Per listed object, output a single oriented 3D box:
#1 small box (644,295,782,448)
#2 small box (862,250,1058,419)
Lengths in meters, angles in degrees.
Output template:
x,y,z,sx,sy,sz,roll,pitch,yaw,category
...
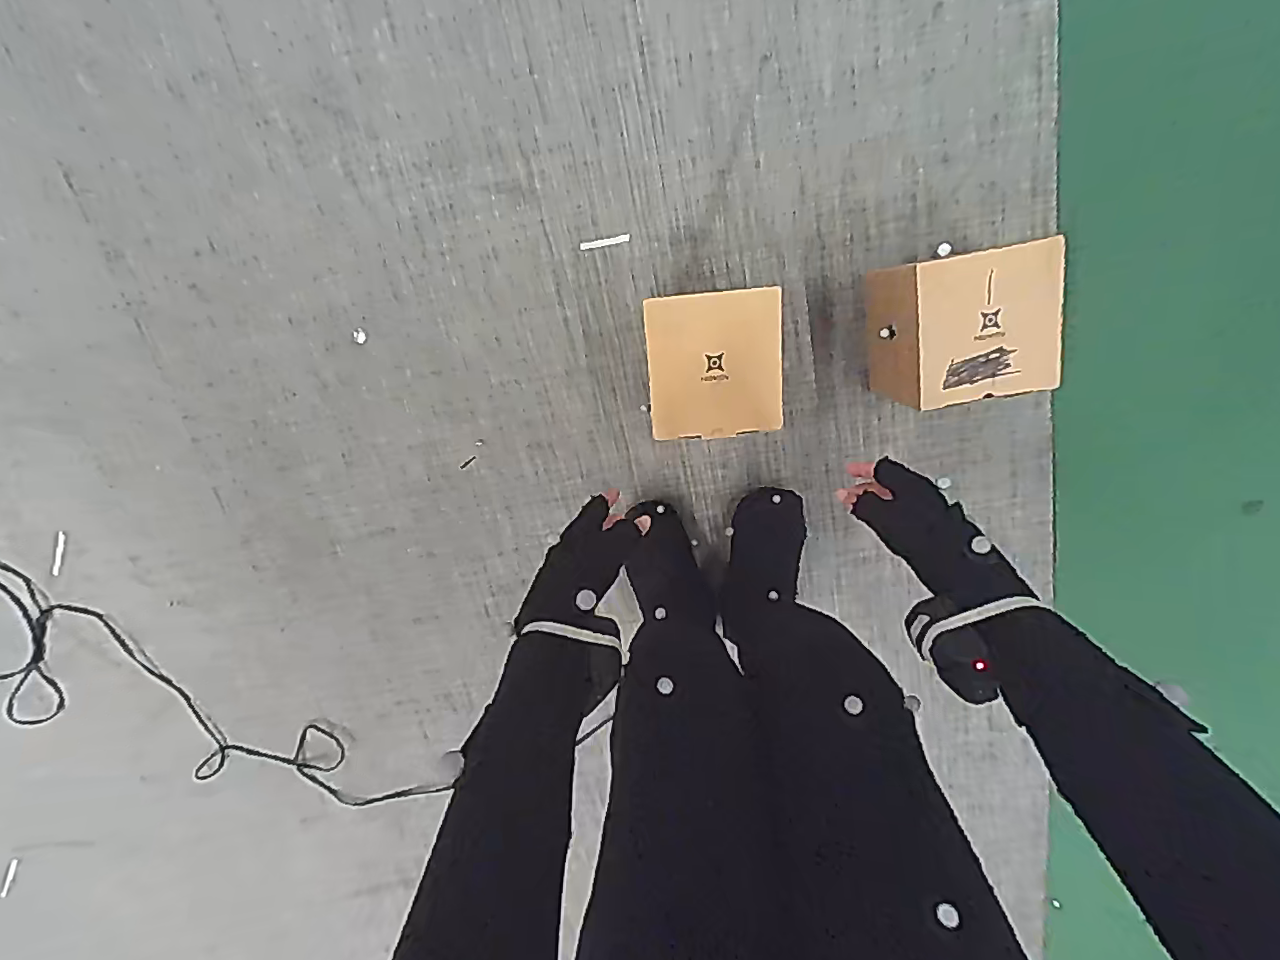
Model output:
x,y,z,sx,sy,sz,roll,pitch,yaw,category
0.093,-0.151,0.738,0.168,0.176,0.179,-5,107,3,small box
0.408,-0.191,0.717,0.168,0.176,0.179,-9,106,4,small box
